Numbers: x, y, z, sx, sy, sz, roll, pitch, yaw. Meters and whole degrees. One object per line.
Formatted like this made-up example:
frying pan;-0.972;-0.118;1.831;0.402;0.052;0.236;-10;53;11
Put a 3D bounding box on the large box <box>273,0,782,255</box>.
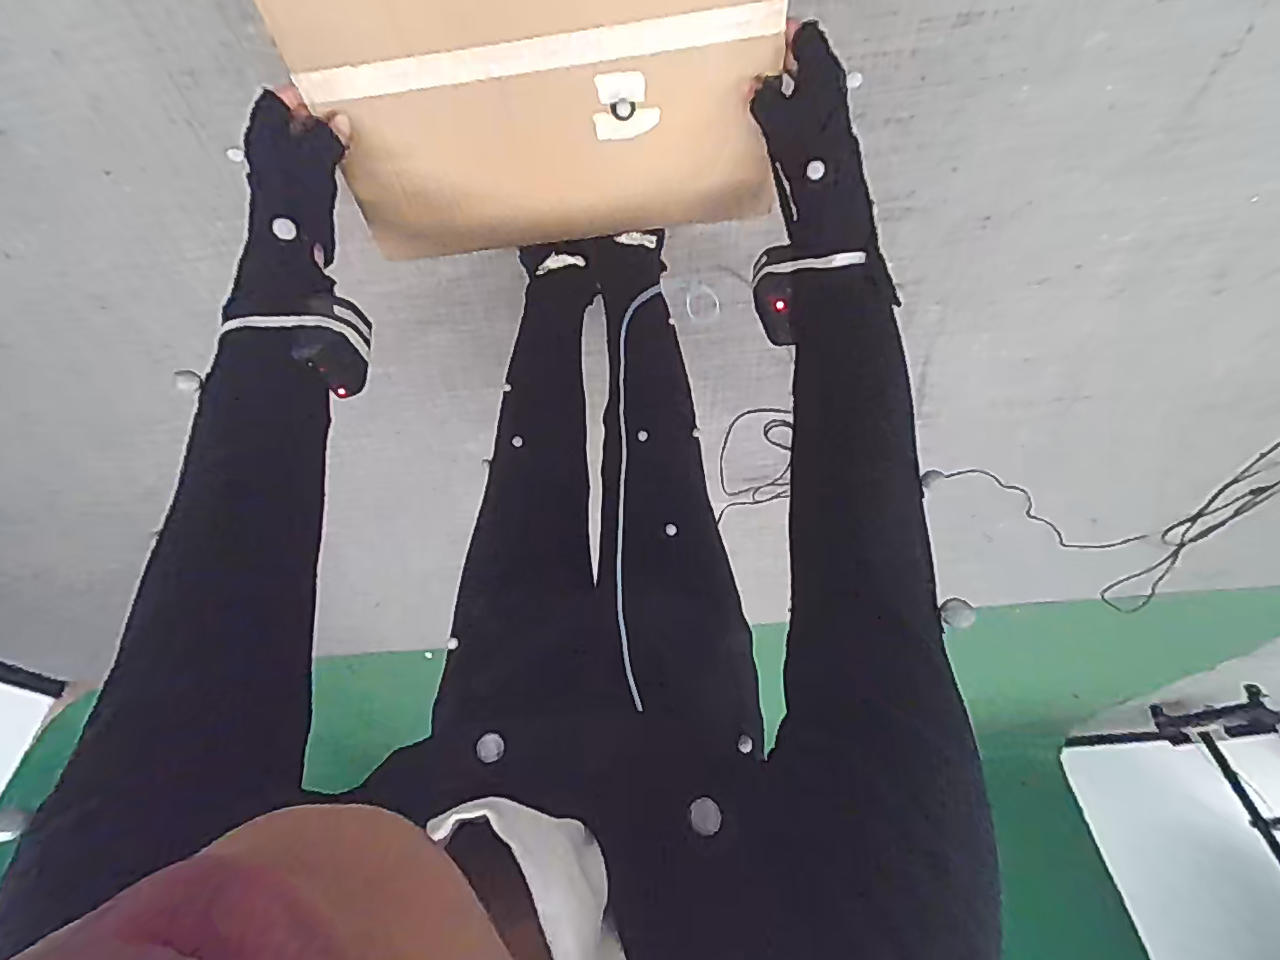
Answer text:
large box;-0.091;-0.472;0.543;0.408;0.320;0.320;-6;140;3
